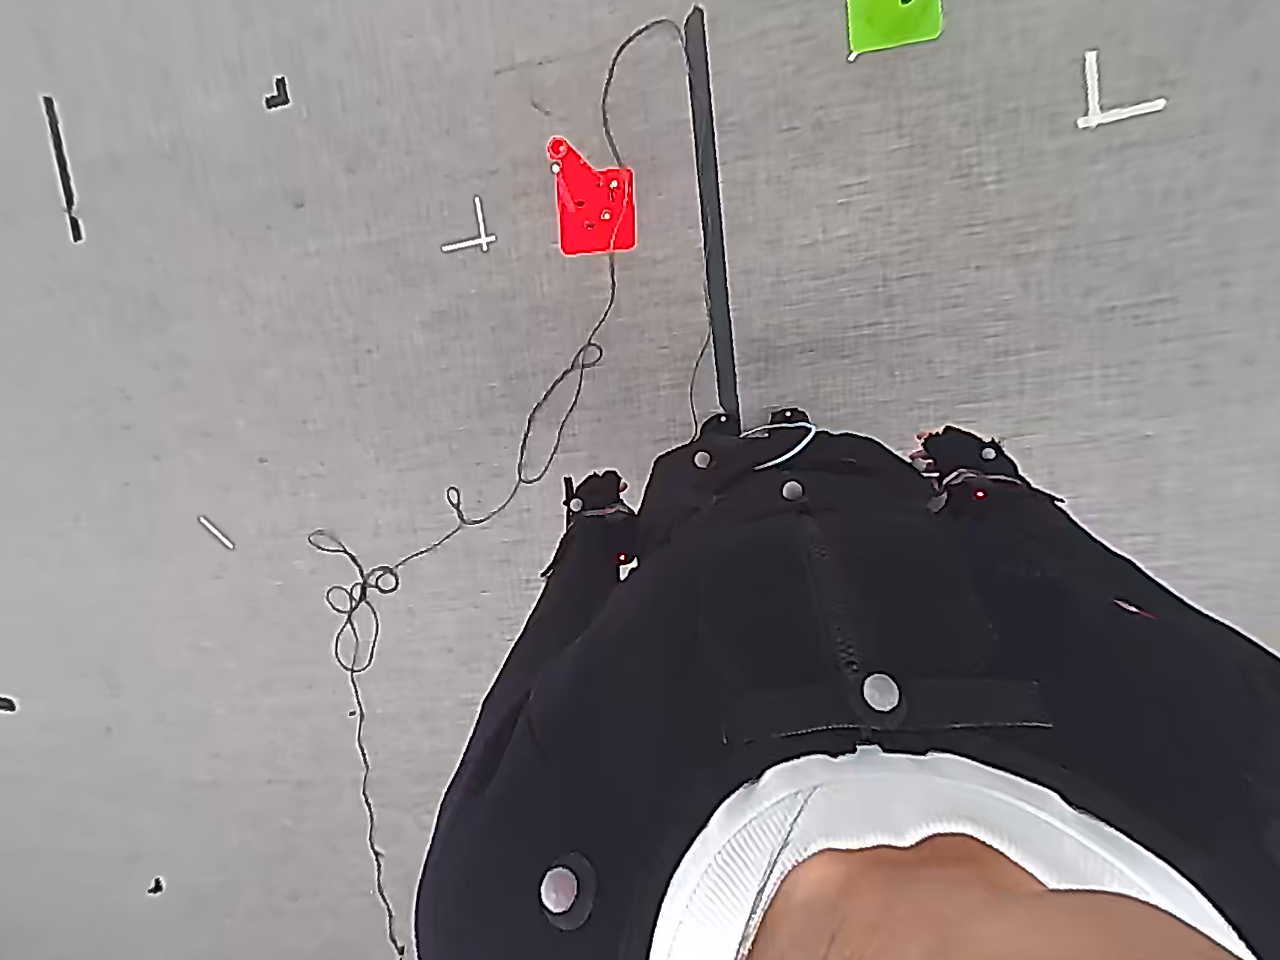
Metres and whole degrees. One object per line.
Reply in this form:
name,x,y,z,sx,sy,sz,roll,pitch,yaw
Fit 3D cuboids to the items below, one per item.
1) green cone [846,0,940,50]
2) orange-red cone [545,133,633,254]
green cone,0.548,-1.068,1.052,0.202,0.368,0.200,-6,97,8
orange-red cone,-0.141,-0.664,1.208,0.199,0.360,0.198,-1,96,9
